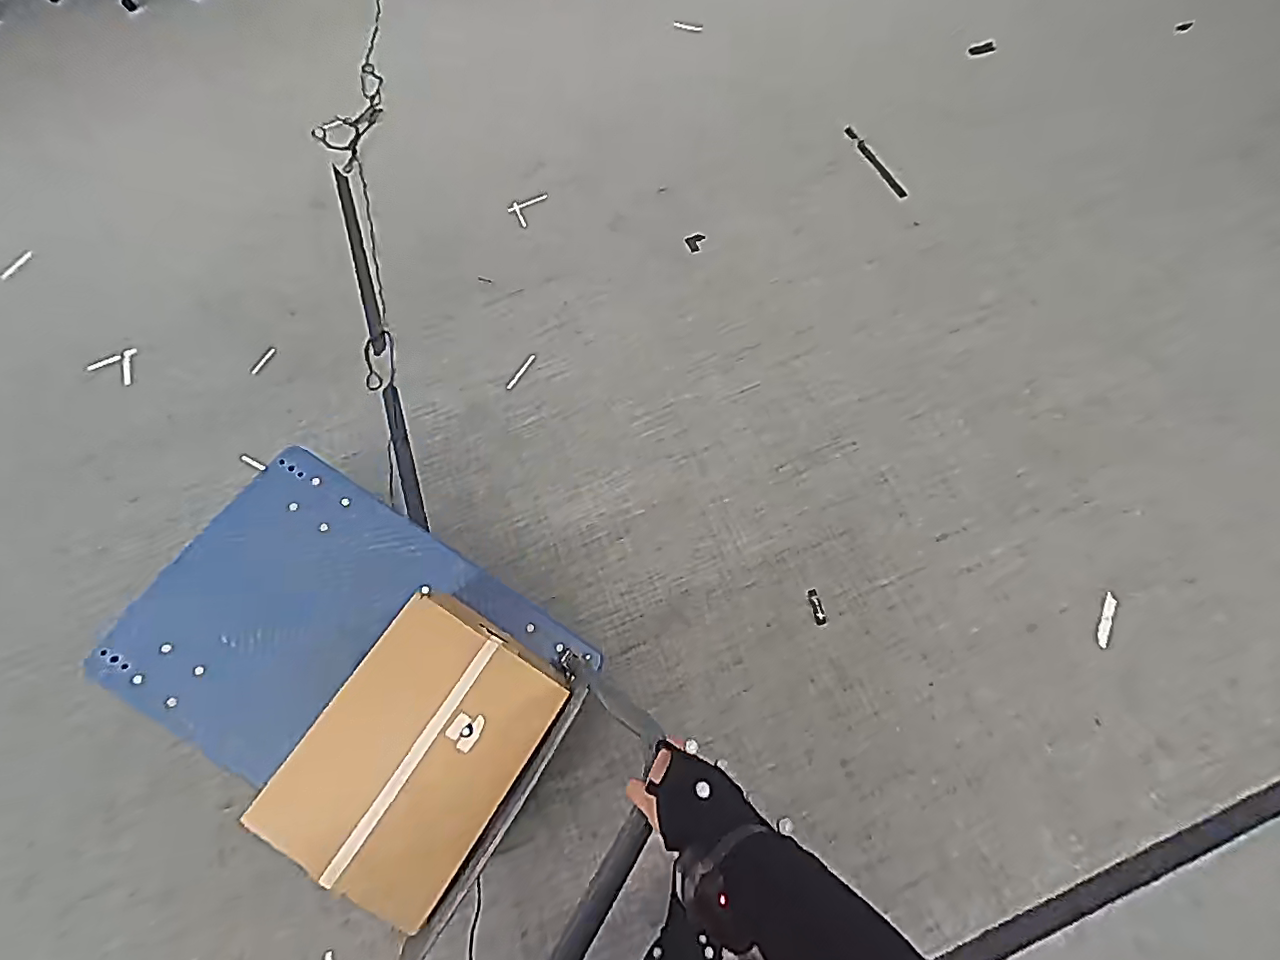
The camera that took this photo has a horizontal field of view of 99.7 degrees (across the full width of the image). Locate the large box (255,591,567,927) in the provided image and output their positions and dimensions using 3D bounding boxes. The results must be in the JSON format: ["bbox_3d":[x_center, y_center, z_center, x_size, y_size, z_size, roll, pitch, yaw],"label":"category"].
[{"bbox_3d":[-0.377,0.468,1.005,0.320,0.320,0.408,34,72,-2],"label":"large box"}]
